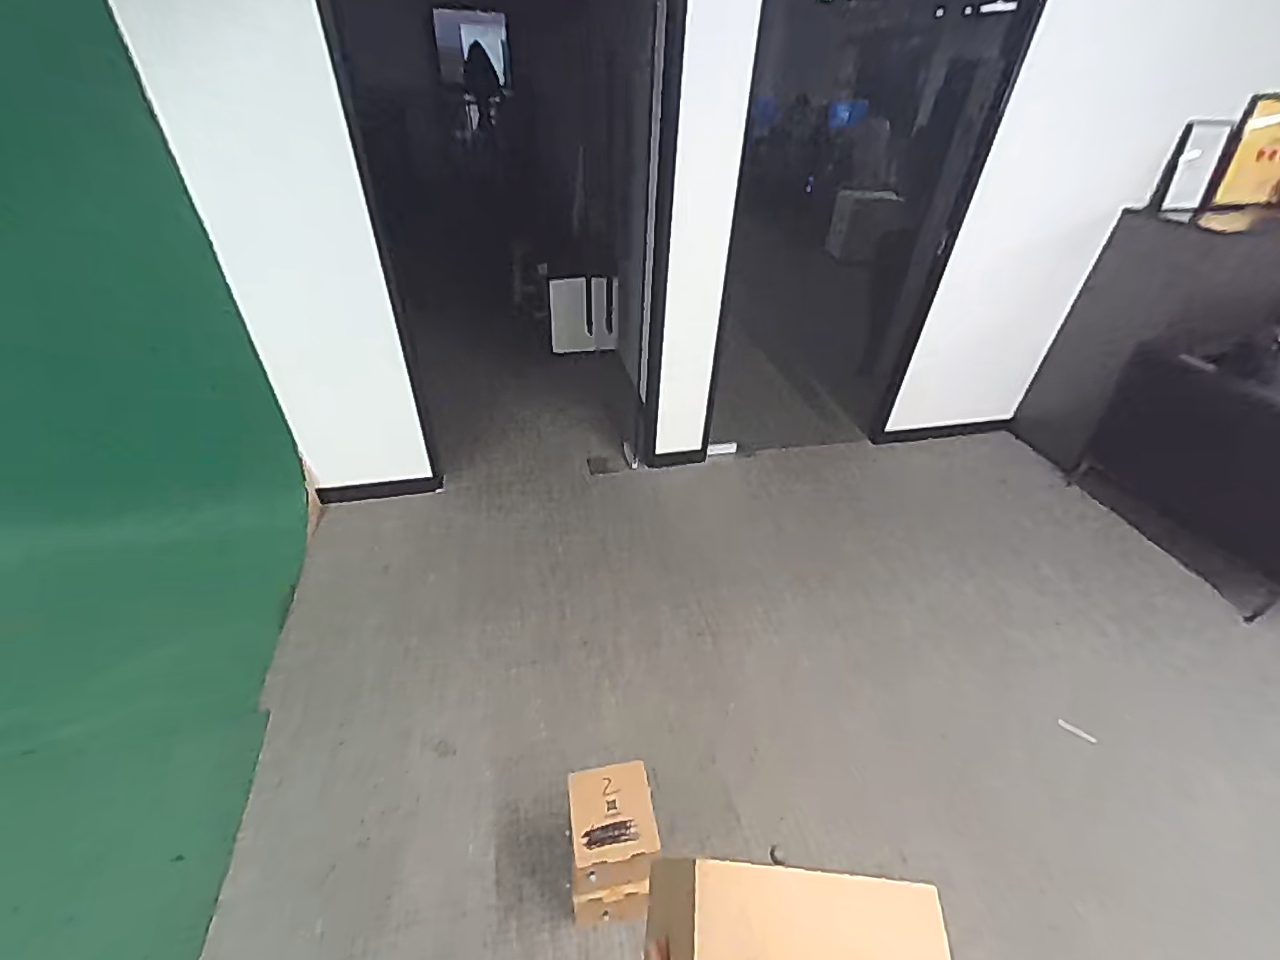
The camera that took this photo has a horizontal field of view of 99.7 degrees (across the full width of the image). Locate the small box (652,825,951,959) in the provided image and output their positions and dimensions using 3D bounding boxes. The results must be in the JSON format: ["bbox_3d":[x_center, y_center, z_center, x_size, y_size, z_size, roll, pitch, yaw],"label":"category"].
[{"bbox_3d":[0.099,0.362,0.381,0.168,0.176,0.179,10,53,-3],"label":"small box"}]

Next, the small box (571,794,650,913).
[{"bbox_3d":[-0.073,0.852,1.237,0.168,0.176,0.179,-2,39,-8],"label":"small box"}]
